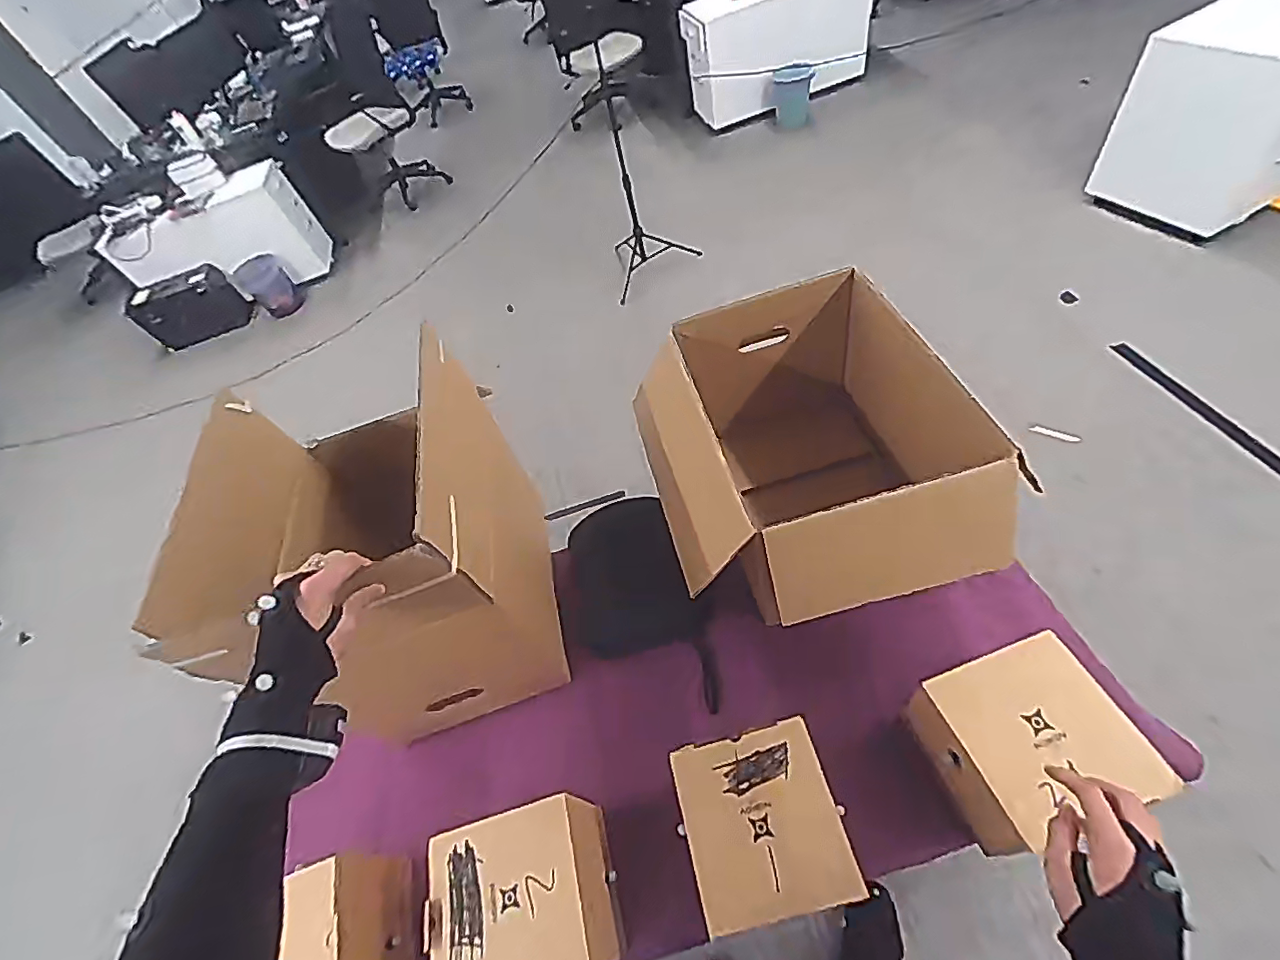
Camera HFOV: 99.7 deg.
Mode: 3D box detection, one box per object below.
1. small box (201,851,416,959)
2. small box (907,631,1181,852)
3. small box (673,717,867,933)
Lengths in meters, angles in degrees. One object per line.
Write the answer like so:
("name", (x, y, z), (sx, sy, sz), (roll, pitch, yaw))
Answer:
("small box", (-0.404, 0.591, 0.674), (0.179, 0.176, 0.168), (-21, 52, -2))
("small box", (0.444, 0.312, 0.638), (0.168, 0.176, 0.179), (-22, 52, 0))
("small box", (0.147, 0.412, 0.650), (0.168, 0.176, 0.179), (-17, 53, 3))
